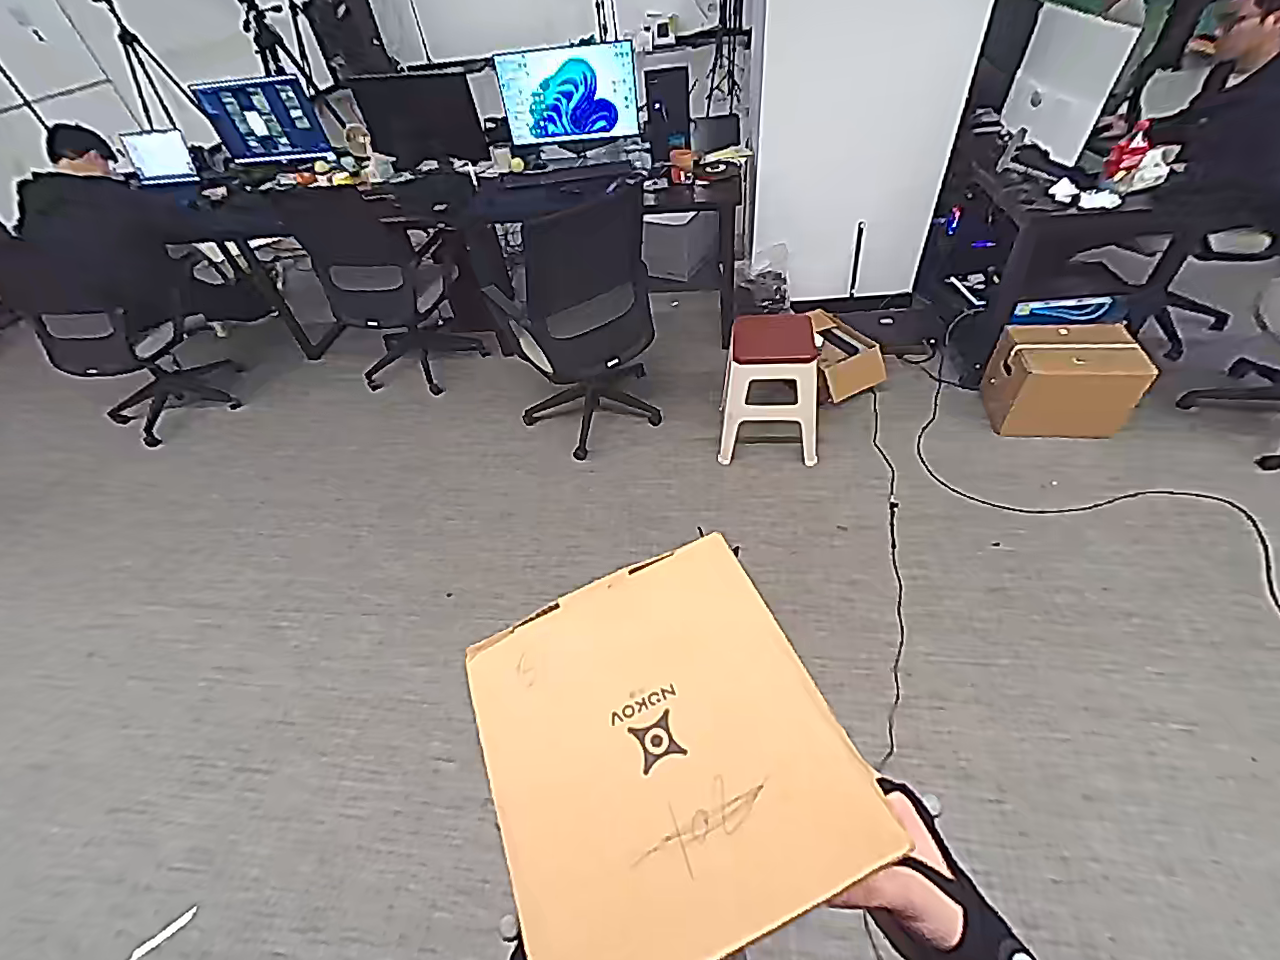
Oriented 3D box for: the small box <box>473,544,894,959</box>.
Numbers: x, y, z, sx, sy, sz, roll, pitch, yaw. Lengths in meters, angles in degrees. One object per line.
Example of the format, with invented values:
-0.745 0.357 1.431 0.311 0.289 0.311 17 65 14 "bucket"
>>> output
0.019 0.178 0.341 0.168 0.176 0.179 -24 54 -6 "small box"
